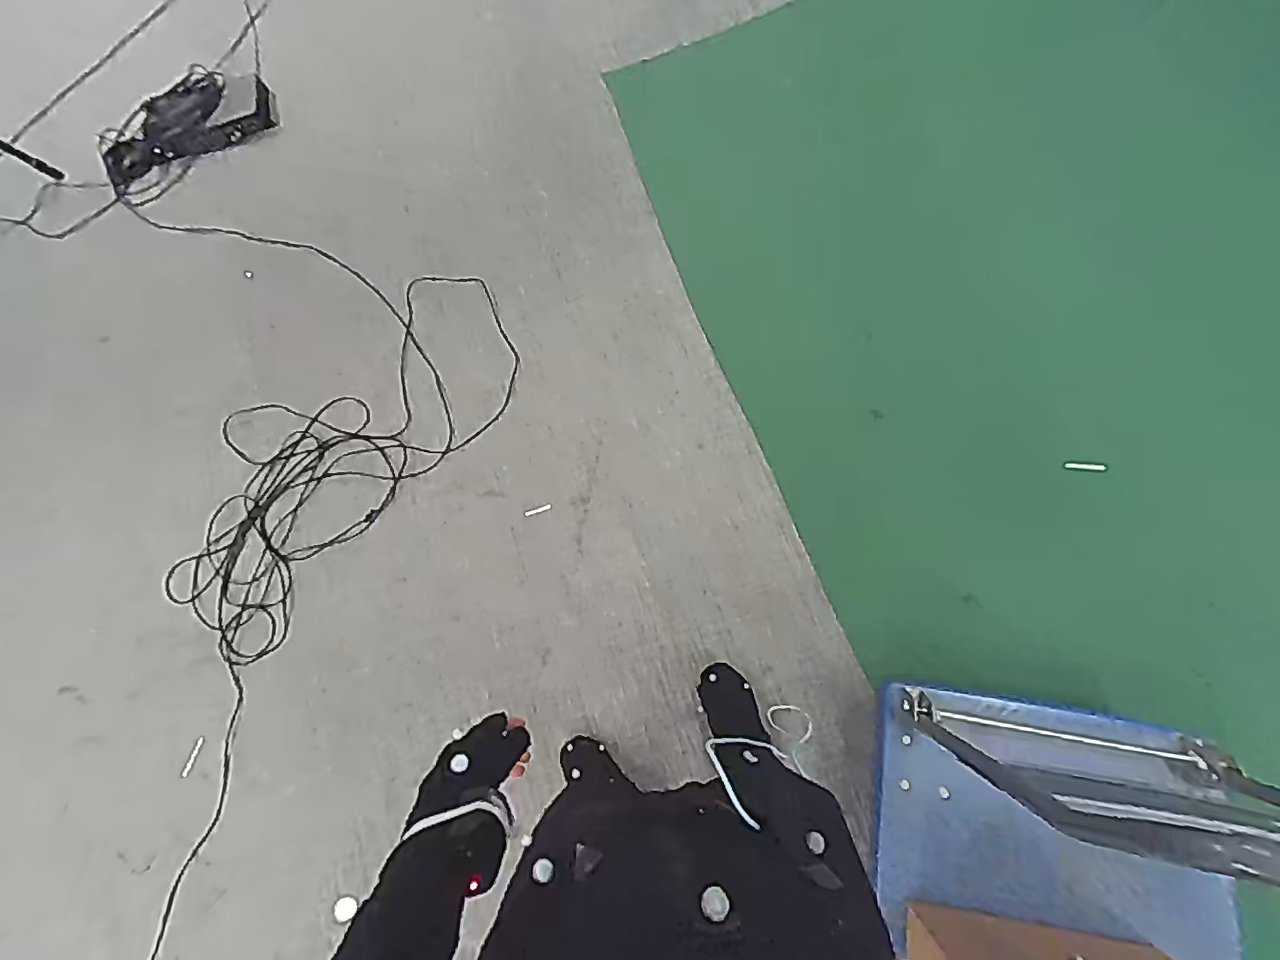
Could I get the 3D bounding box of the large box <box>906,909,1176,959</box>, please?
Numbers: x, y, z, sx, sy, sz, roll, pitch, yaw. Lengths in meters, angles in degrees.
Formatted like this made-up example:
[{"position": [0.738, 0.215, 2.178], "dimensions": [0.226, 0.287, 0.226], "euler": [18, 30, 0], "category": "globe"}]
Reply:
[{"position": [0.639, 0.871, 0.756], "dimensions": [0.408, 0.320, 0.320], "euler": [3, 75, 8], "category": "large box"}]
